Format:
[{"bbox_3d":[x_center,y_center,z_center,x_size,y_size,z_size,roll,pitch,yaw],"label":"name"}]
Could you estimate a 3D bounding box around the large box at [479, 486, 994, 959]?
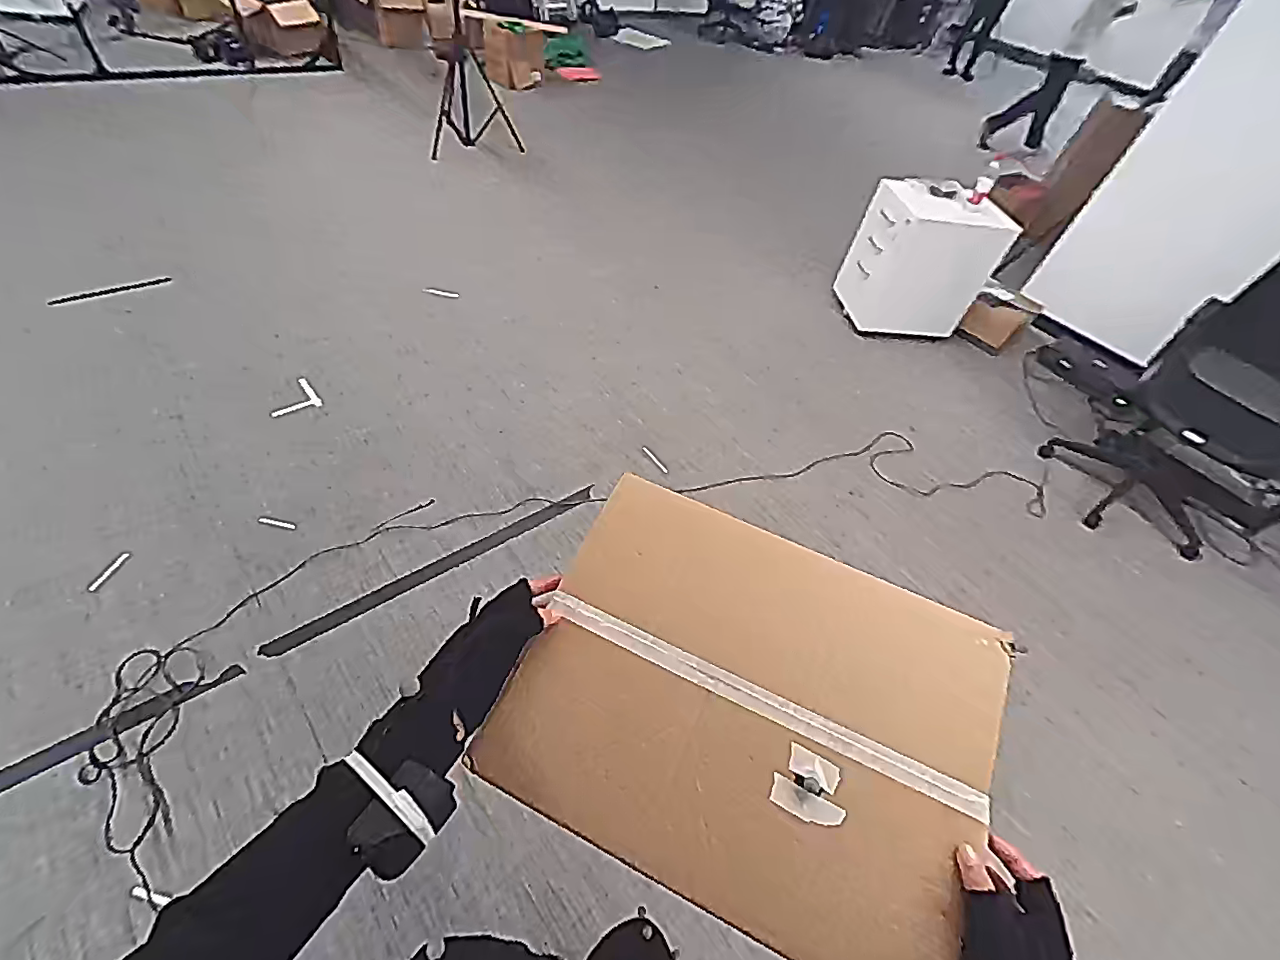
[{"bbox_3d":[0.097,0.268,0.624,0.408,0.320,0.320,23,64,11],"label":"large box"}]
